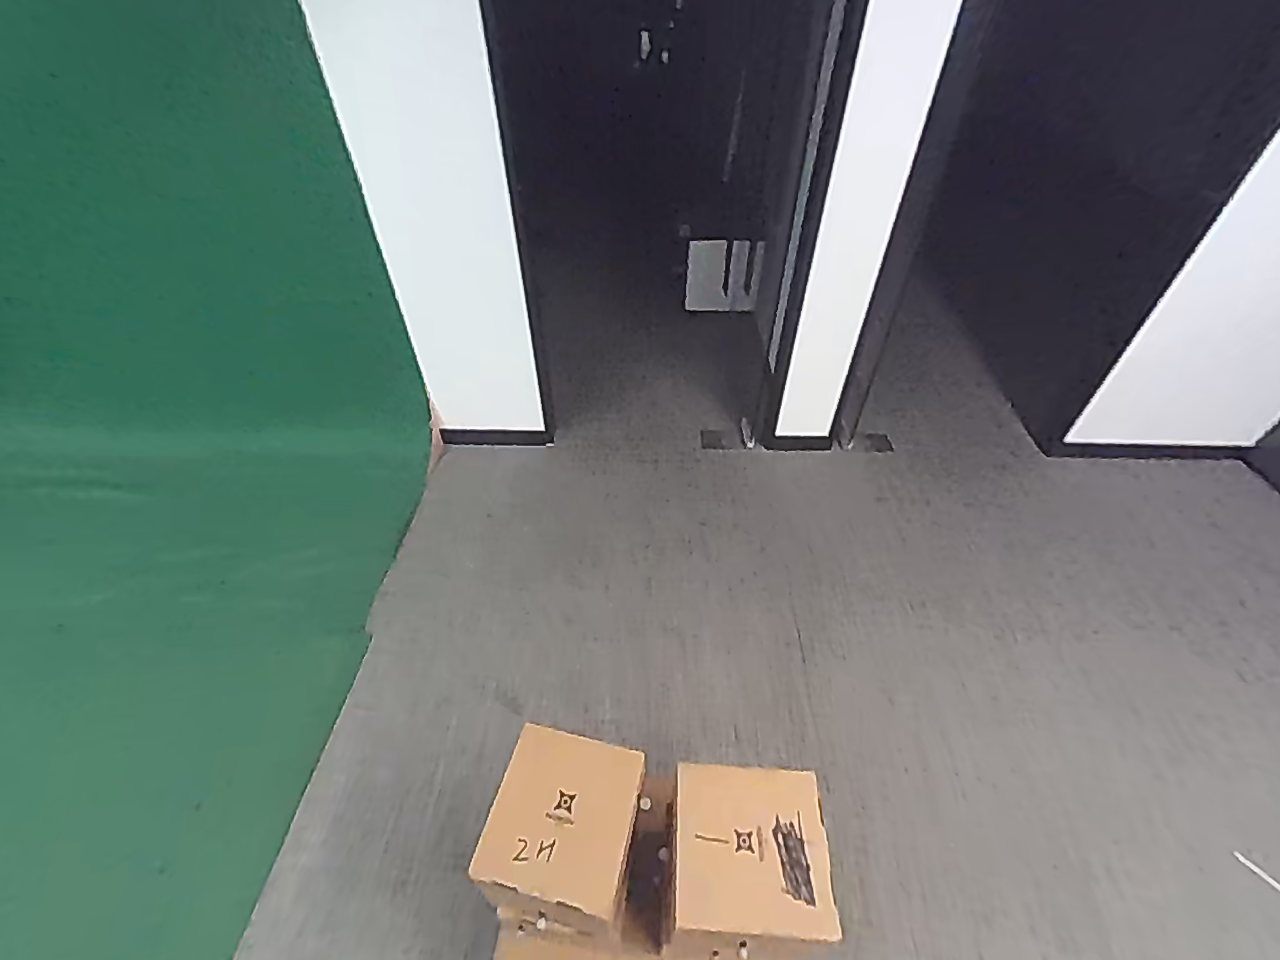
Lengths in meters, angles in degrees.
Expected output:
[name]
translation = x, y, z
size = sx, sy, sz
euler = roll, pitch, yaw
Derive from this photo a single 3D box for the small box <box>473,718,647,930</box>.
[small box]
translation = -0.093, 0.448, 0.707
size = 0.168, 0.176, 0.179
euler = 10, 45, 10
